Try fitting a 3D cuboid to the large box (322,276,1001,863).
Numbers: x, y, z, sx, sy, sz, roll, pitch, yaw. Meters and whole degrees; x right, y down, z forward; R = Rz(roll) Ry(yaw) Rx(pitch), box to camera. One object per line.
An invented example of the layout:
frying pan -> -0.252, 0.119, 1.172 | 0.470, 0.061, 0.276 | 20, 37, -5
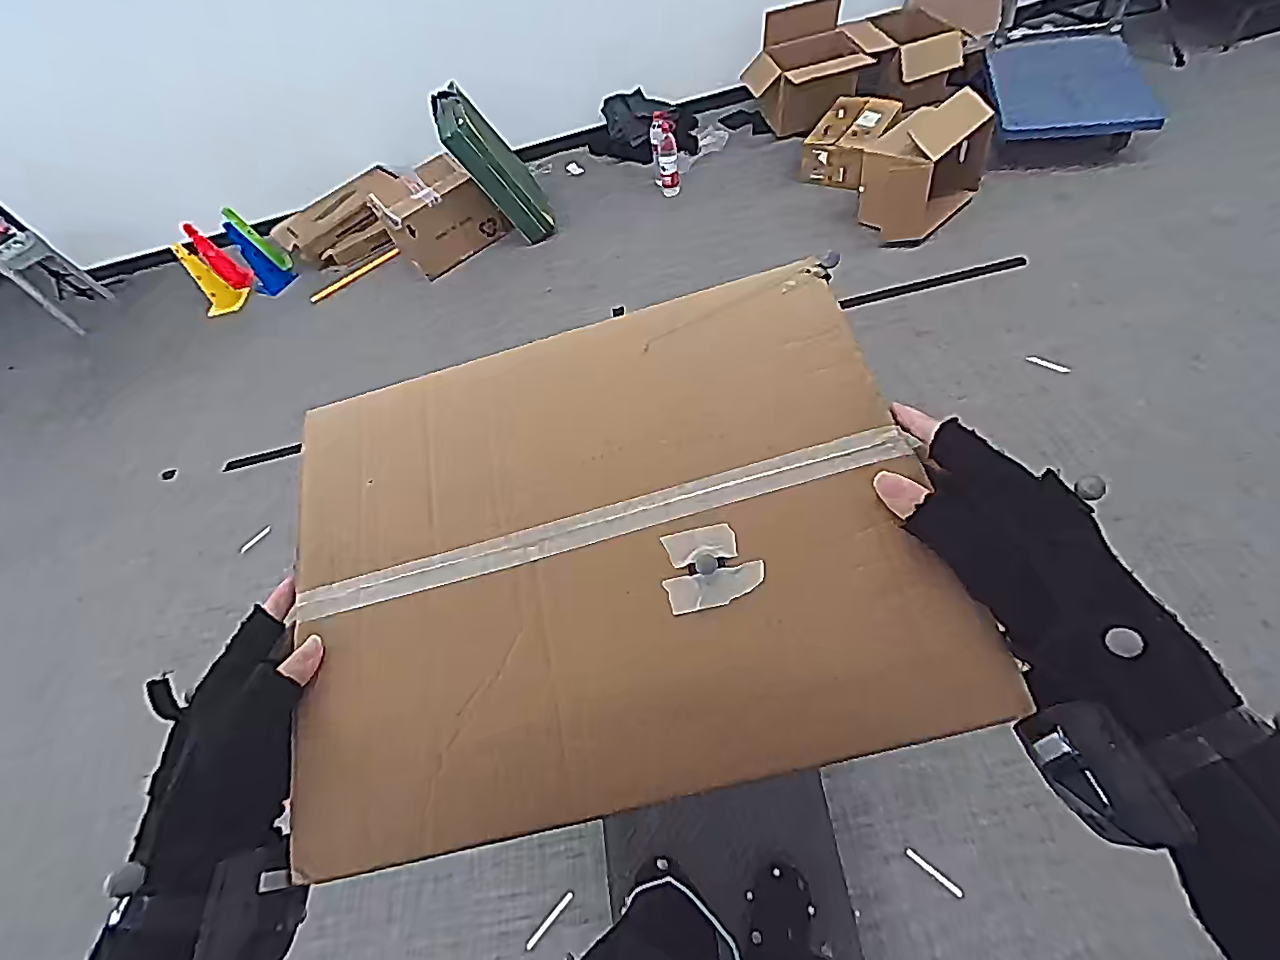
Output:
large box -> -0.004, 0.089, 0.497 | 0.408, 0.320, 0.320 | -16, 67, 3
